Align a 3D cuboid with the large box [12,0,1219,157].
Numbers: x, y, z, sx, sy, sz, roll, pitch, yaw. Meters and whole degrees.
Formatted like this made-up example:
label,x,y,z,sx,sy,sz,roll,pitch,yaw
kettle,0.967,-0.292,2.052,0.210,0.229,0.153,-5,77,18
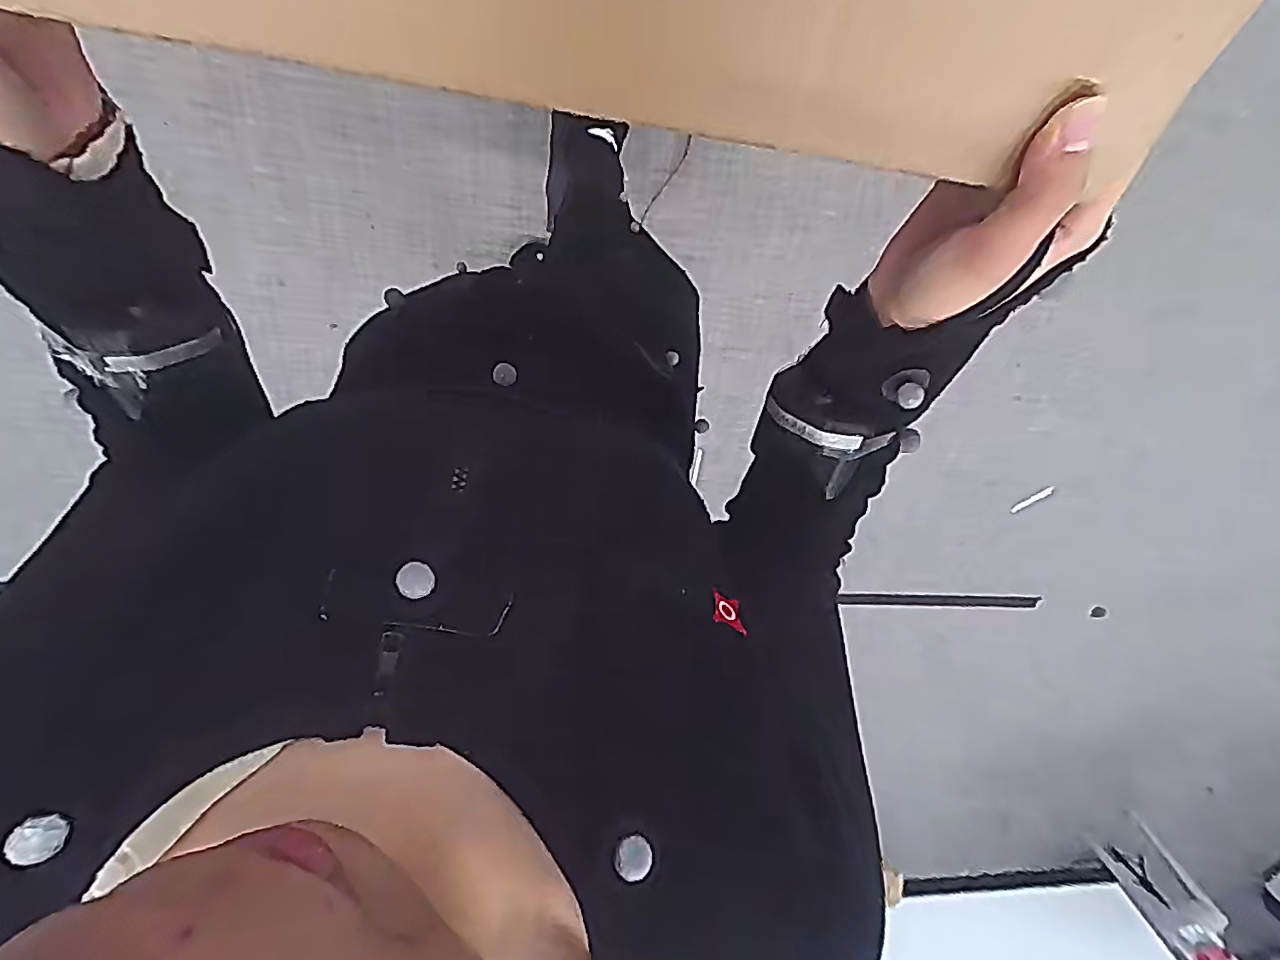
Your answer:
label,x,y,z,sx,sy,sz,roll,pitch,yaw
large box,-0.006,-0.345,0.156,0.408,0.320,0.320,5,142,-6
